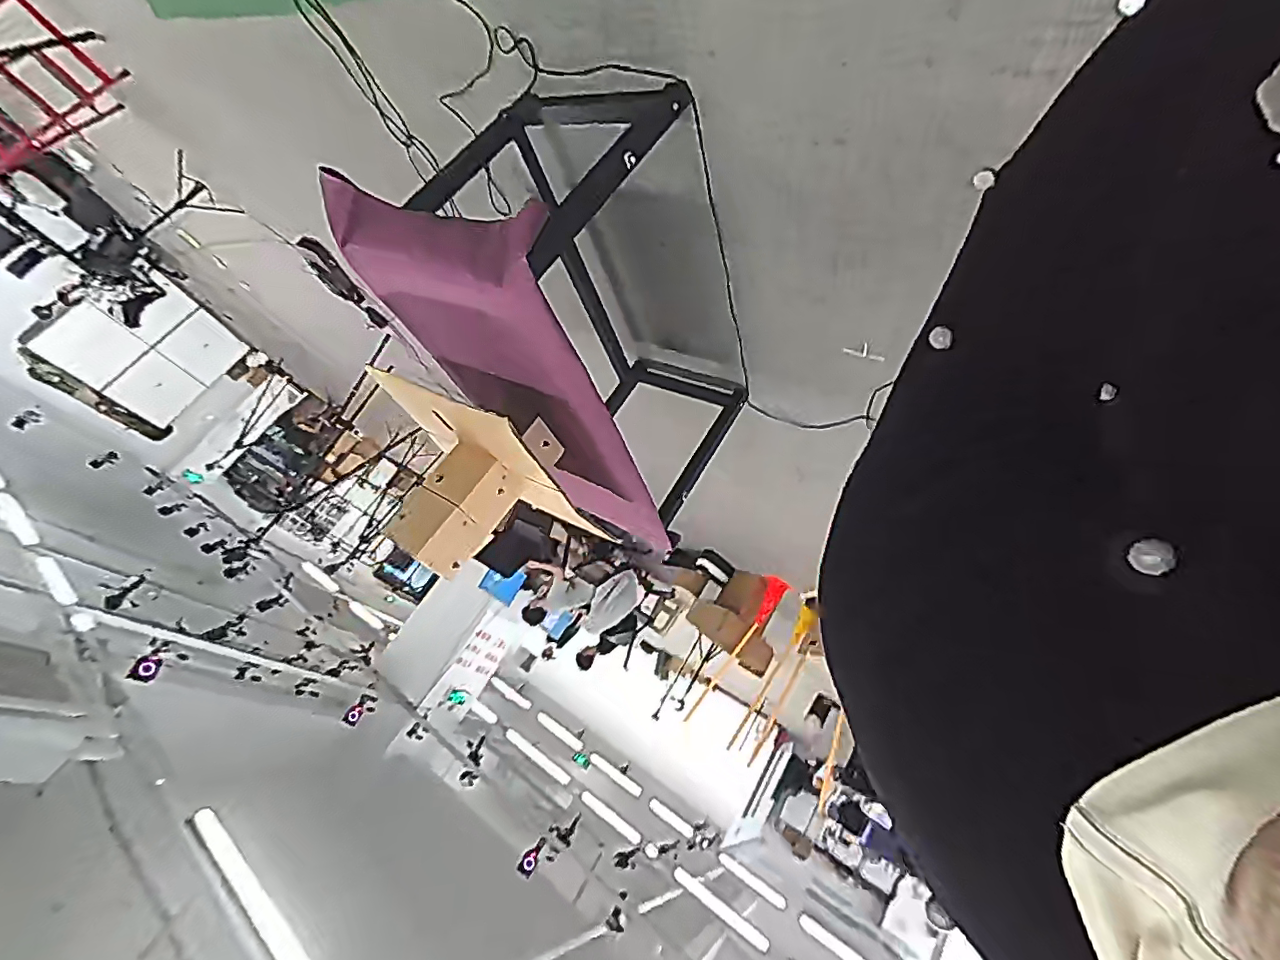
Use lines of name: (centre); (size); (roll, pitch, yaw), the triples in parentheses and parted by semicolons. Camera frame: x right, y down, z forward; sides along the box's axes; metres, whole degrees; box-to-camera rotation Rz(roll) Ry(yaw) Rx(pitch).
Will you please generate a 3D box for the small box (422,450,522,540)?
small box: (-0.477, 0.037, 1.556); (0.179, 0.176, 0.168); (22, 156, 30)
